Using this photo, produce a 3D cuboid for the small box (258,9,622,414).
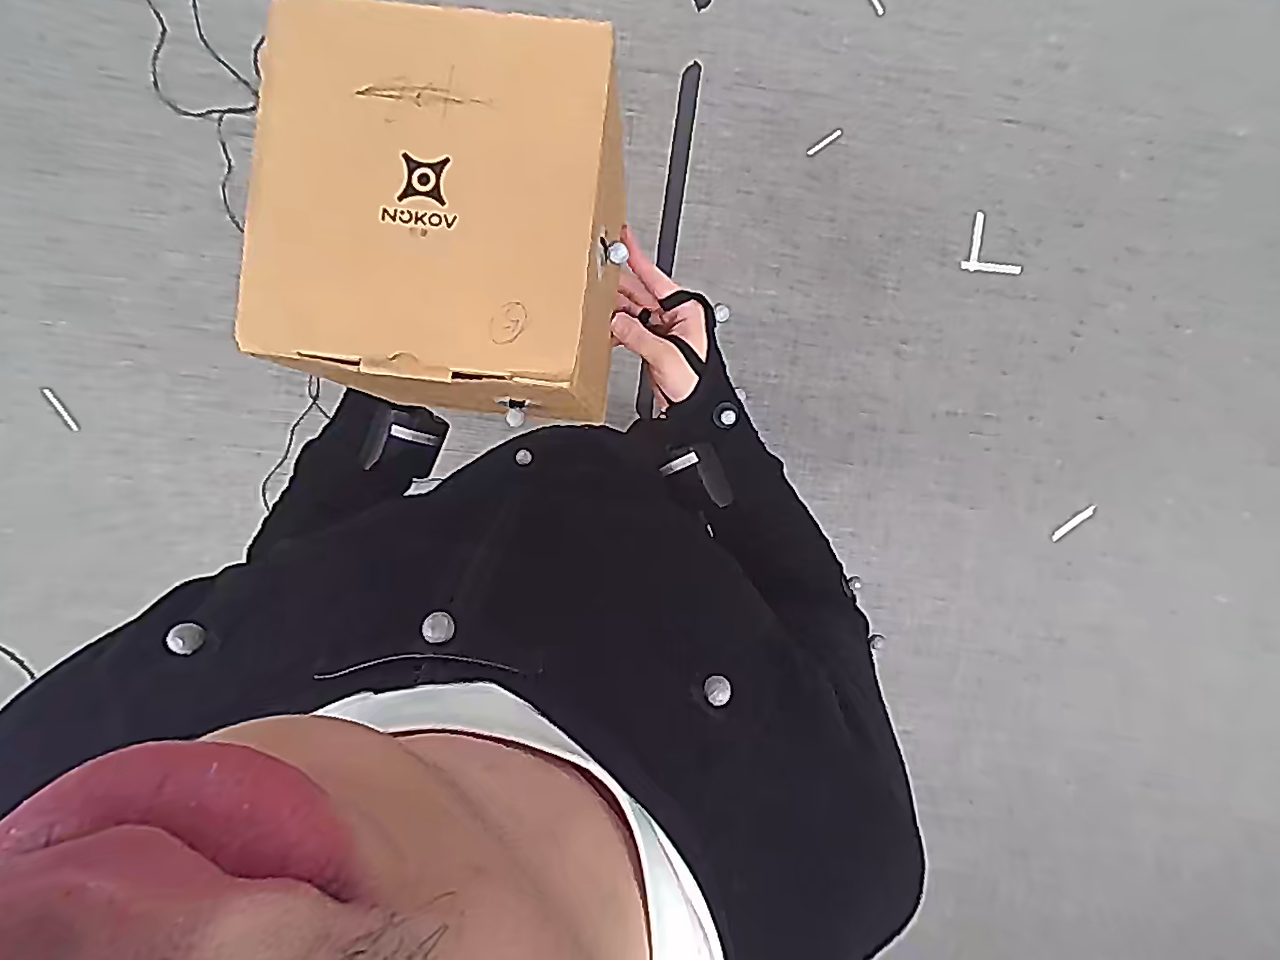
[{"bbox_3d":[-0.102,-0.141,0.349,0.168,0.176,0.179,5,90,0],"label":"small box"}]
